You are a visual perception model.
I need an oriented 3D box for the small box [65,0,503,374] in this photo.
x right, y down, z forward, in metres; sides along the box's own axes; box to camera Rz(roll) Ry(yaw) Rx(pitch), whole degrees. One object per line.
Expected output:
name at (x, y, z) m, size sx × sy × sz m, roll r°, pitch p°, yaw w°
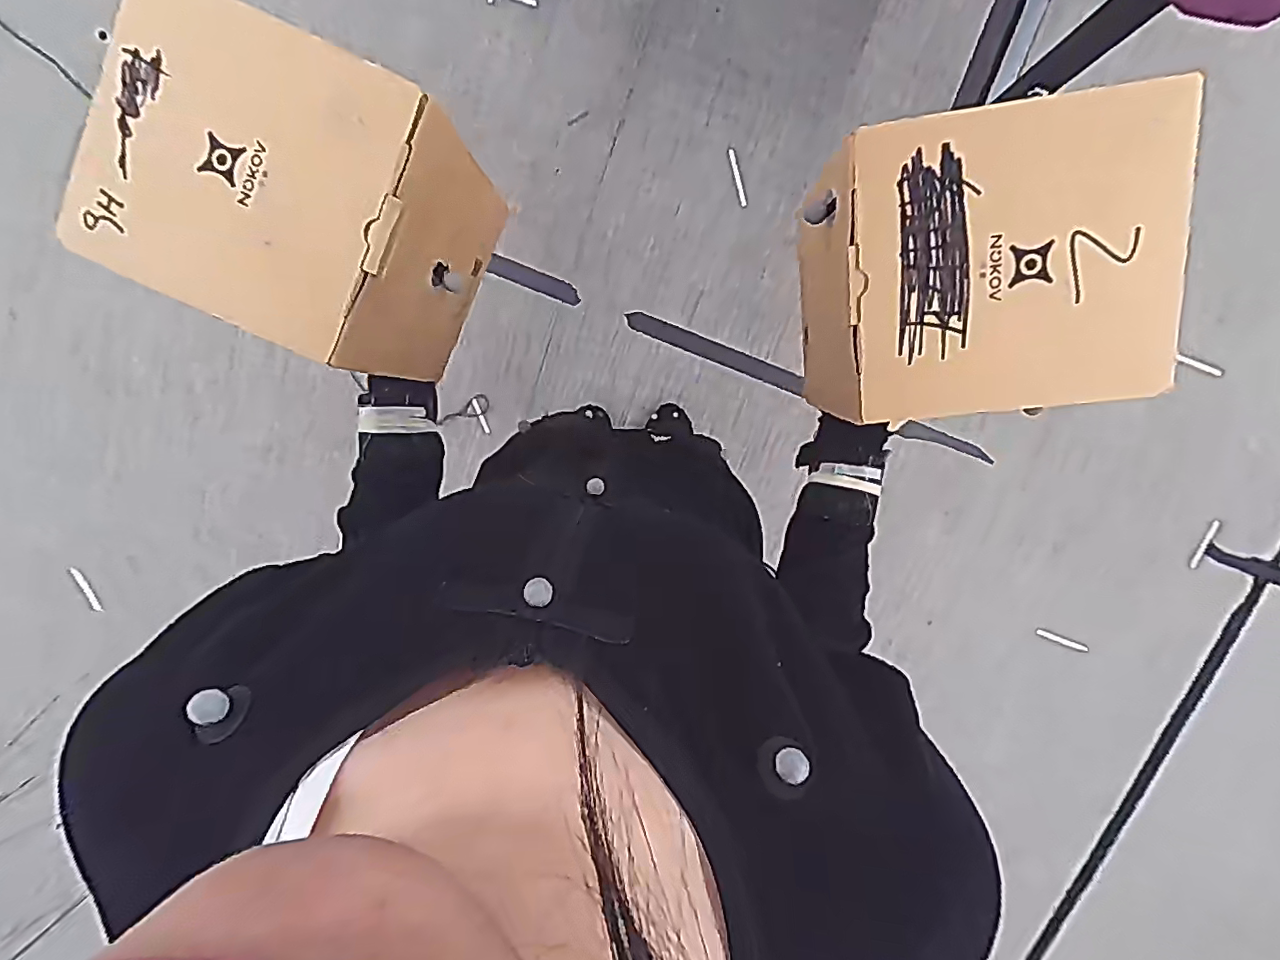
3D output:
small box at (-0.219, -0.184, 0.385) m, size 0.179 × 0.176 × 0.168 m, roll 24°, pitch 97°, yaw -3°
